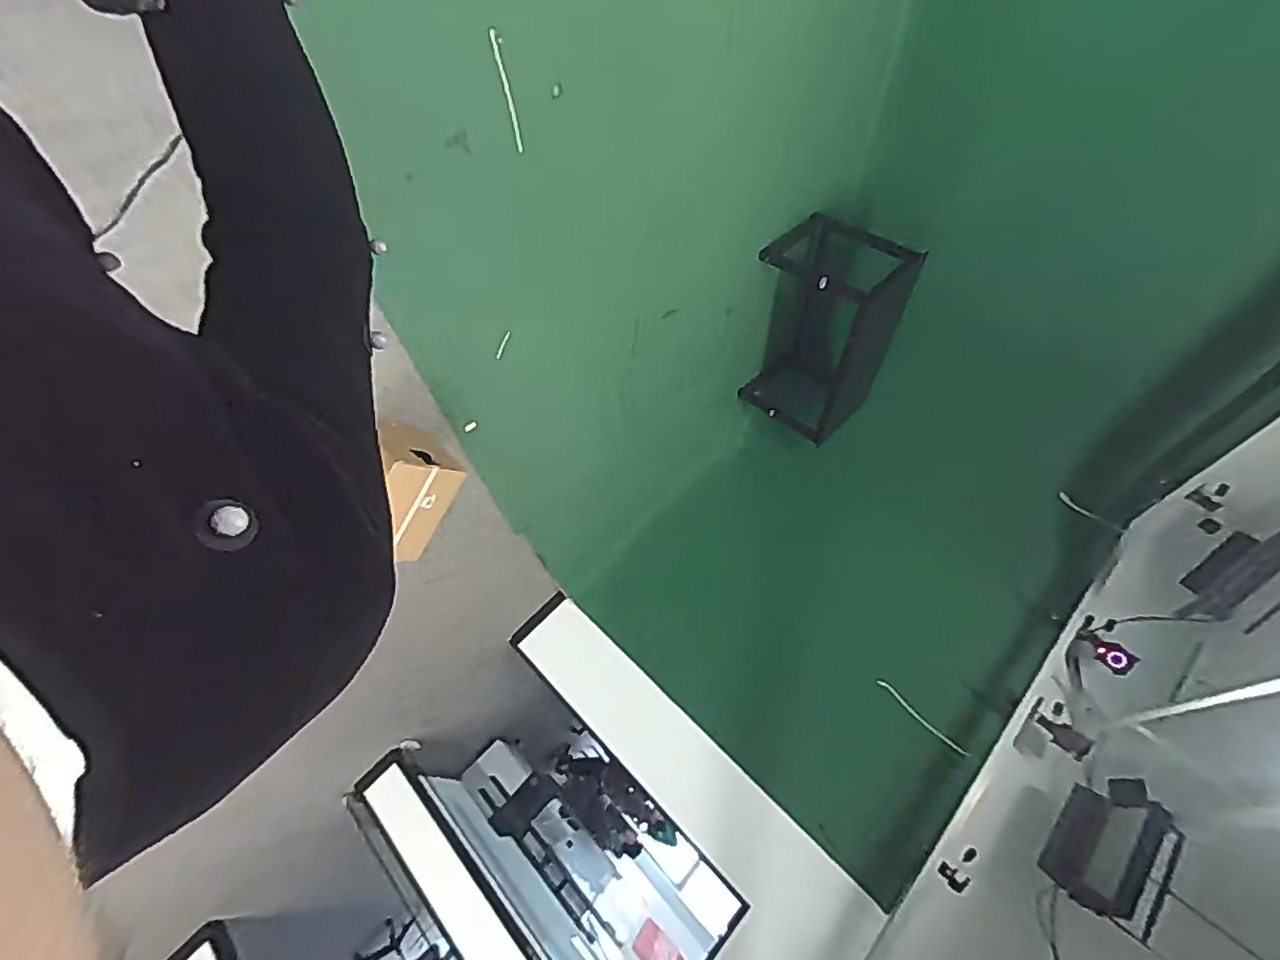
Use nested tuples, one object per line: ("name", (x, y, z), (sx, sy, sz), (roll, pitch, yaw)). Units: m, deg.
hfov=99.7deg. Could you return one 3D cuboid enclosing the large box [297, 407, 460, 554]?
("large box", (-0.928, 0.010, 1.918), (0.408, 0.320, 0.320), (-57, 155, 10))
